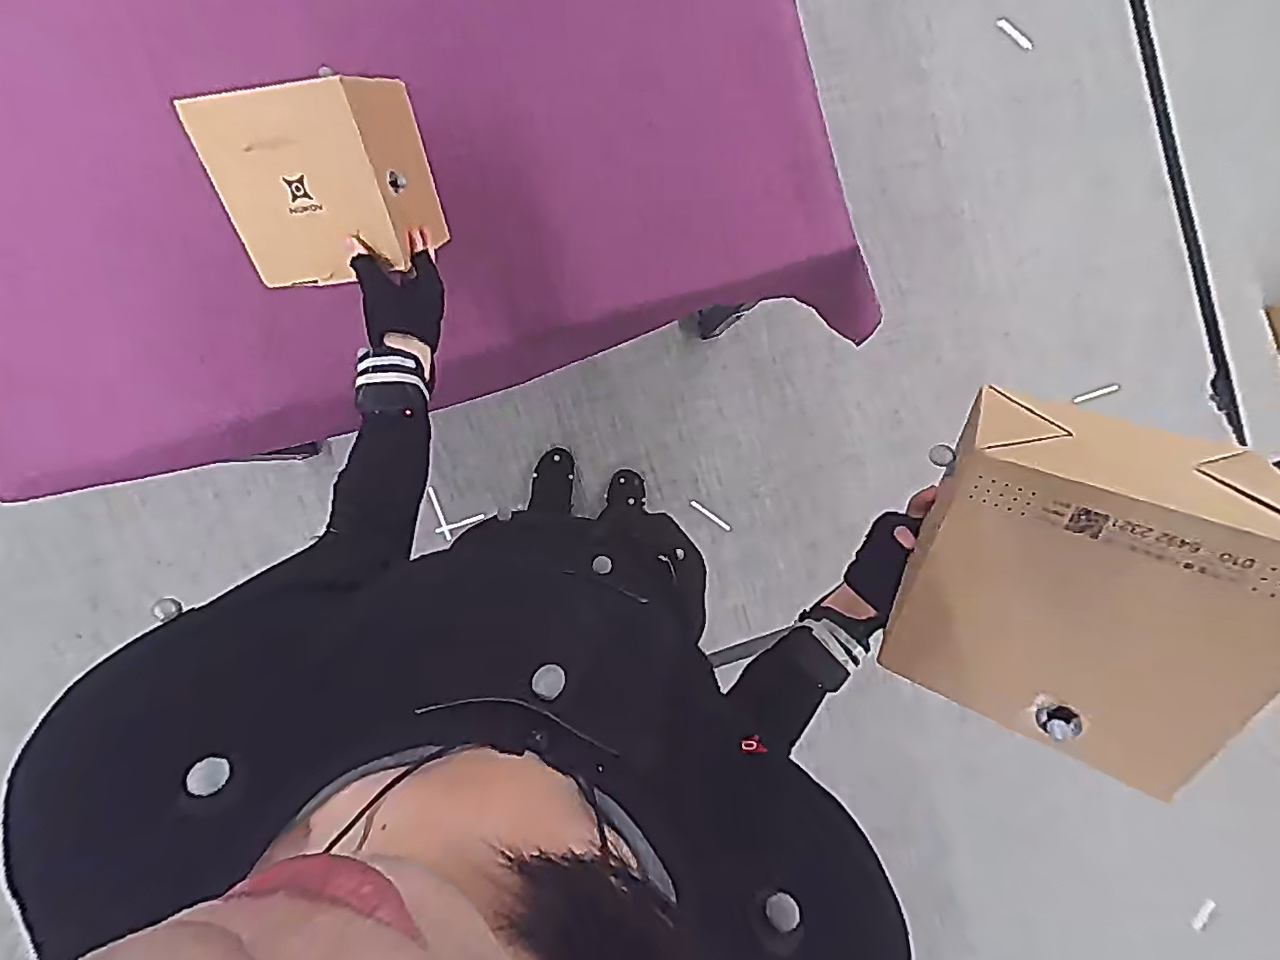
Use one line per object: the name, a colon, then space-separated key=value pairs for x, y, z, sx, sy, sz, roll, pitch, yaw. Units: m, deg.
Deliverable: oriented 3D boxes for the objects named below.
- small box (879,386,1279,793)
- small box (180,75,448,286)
small box: x=0.283 y=0.047 z=0.358 sx=0.168 sy=0.179 sz=0.176 roll=22 pitch=122 yaw=25
small box: x=-0.341 y=-0.340 z=0.614 sx=0.168 sy=0.176 sz=0.179 roll=-6 pitch=124 yaw=5
